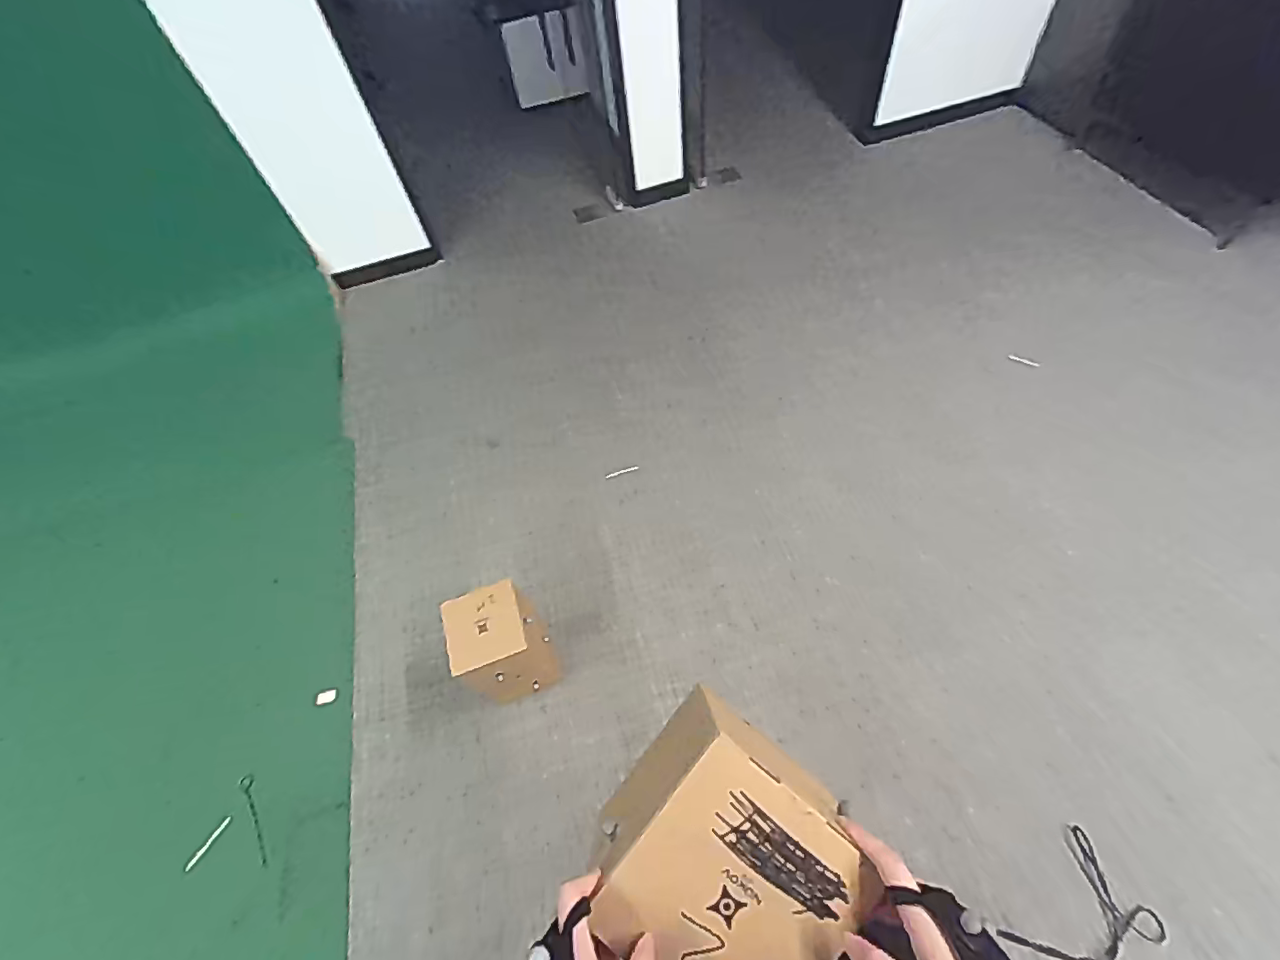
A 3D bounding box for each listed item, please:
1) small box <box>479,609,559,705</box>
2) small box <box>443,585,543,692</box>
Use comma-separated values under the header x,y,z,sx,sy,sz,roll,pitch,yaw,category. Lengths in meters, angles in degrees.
x,y,z,sx,sy,sz,roll,pitch,yaw,category
-0.318,0.461,1.390,0.168,0.176,0.179,-18,56,-5,small box
-0.336,0.374,1.252,0.168,0.176,0.179,-19,57,-7,small box
